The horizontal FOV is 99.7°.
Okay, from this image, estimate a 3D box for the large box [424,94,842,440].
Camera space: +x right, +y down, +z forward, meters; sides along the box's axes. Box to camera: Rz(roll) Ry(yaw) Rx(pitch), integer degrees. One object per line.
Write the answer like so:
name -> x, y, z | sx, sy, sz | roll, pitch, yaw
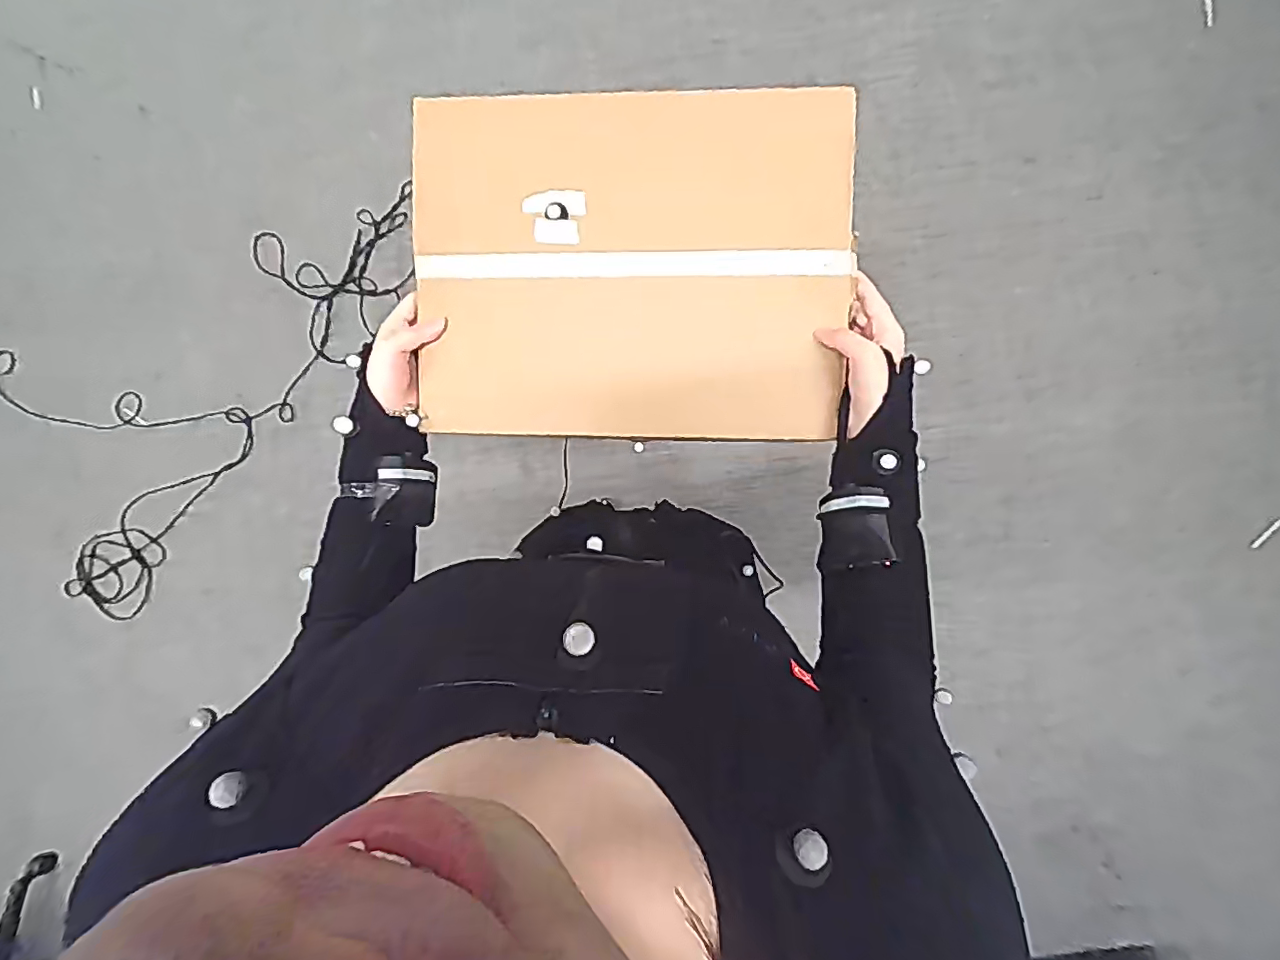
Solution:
large box -> 0.003, -0.209, 0.665 | 0.408, 0.320, 0.320 | 1, 94, 5
